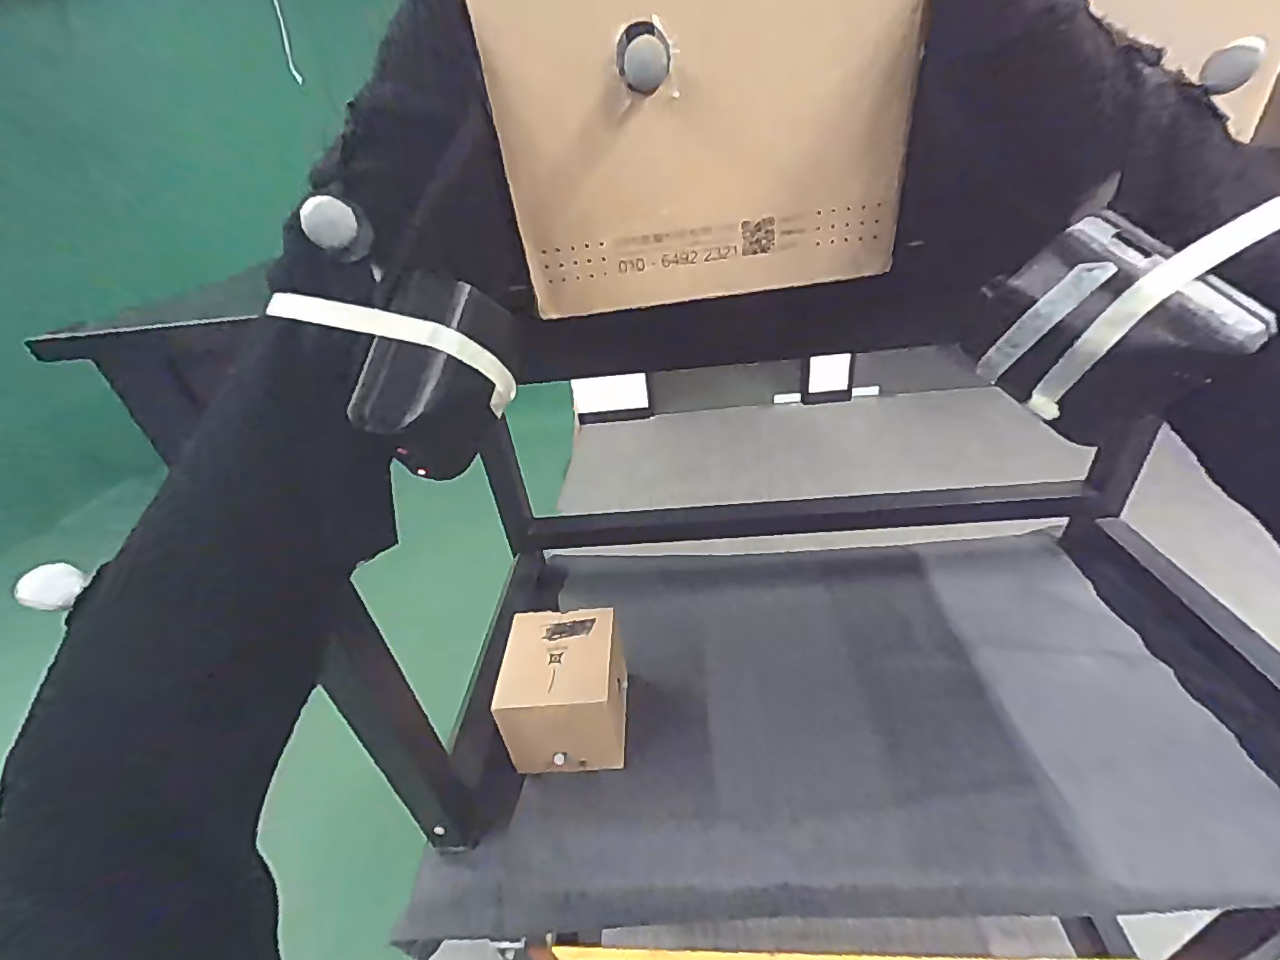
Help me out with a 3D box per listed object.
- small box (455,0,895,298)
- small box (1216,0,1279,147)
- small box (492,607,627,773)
[{"bbox_3d":[0.016,-0.200,0.273,0.168,0.176,0.179,-8,34,2],"label":"small box"},{"bbox_3d":[0.508,-0.296,0.306,0.168,0.176,0.179,1,33,14],"label":"small box"},{"bbox_3d":[-0.113,0.325,0.845,0.168,0.176,0.179,-6,33,4],"label":"small box"}]
